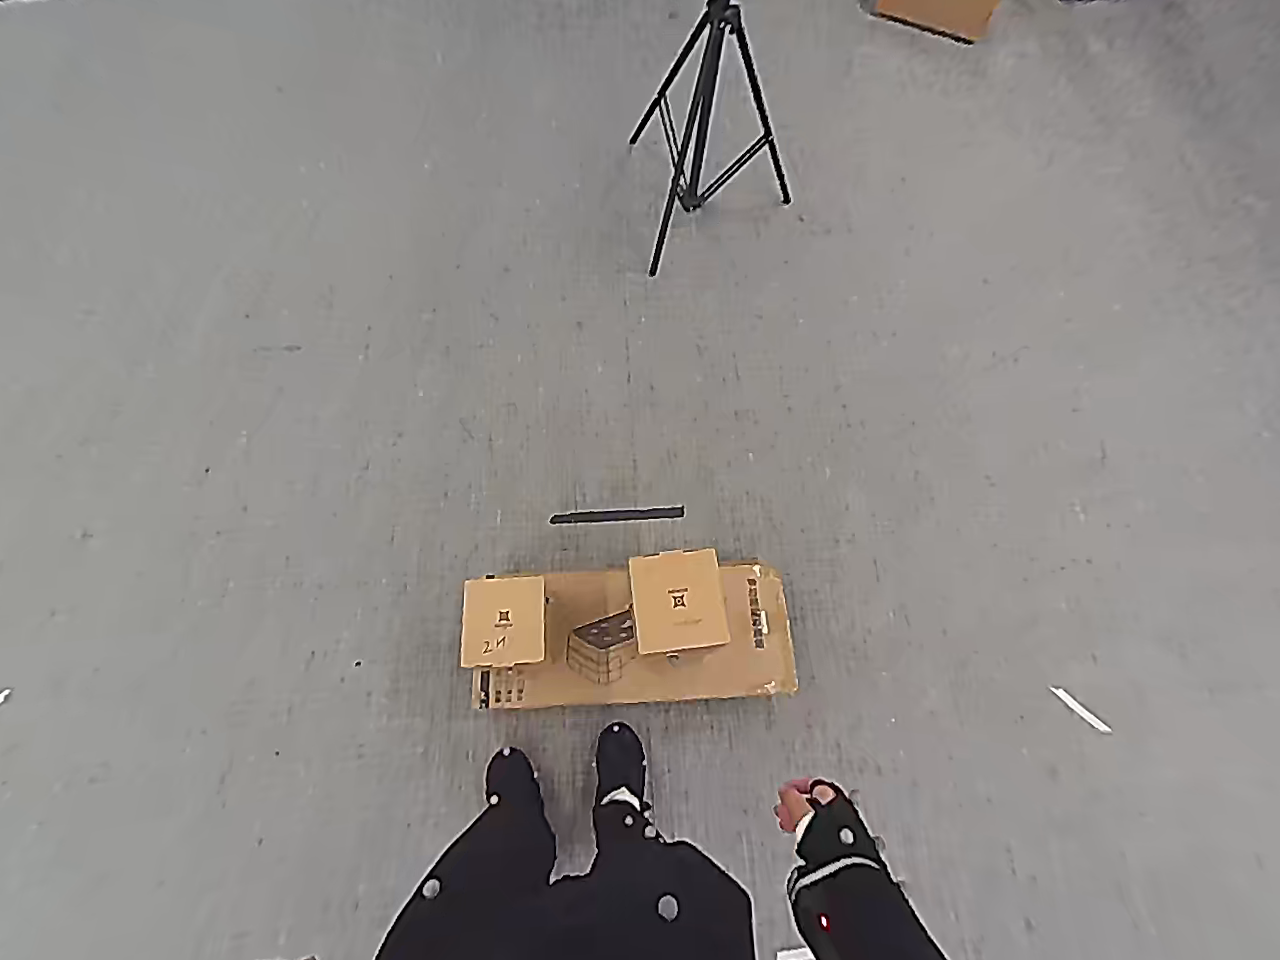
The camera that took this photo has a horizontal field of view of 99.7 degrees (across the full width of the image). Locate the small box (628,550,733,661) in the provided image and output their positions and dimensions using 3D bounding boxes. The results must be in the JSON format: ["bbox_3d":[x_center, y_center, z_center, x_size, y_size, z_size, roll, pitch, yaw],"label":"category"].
[{"bbox_3d":[0.068,0.247,1.047,0.168,0.176,0.179,-7,70,-5],"label":"small box"}]
